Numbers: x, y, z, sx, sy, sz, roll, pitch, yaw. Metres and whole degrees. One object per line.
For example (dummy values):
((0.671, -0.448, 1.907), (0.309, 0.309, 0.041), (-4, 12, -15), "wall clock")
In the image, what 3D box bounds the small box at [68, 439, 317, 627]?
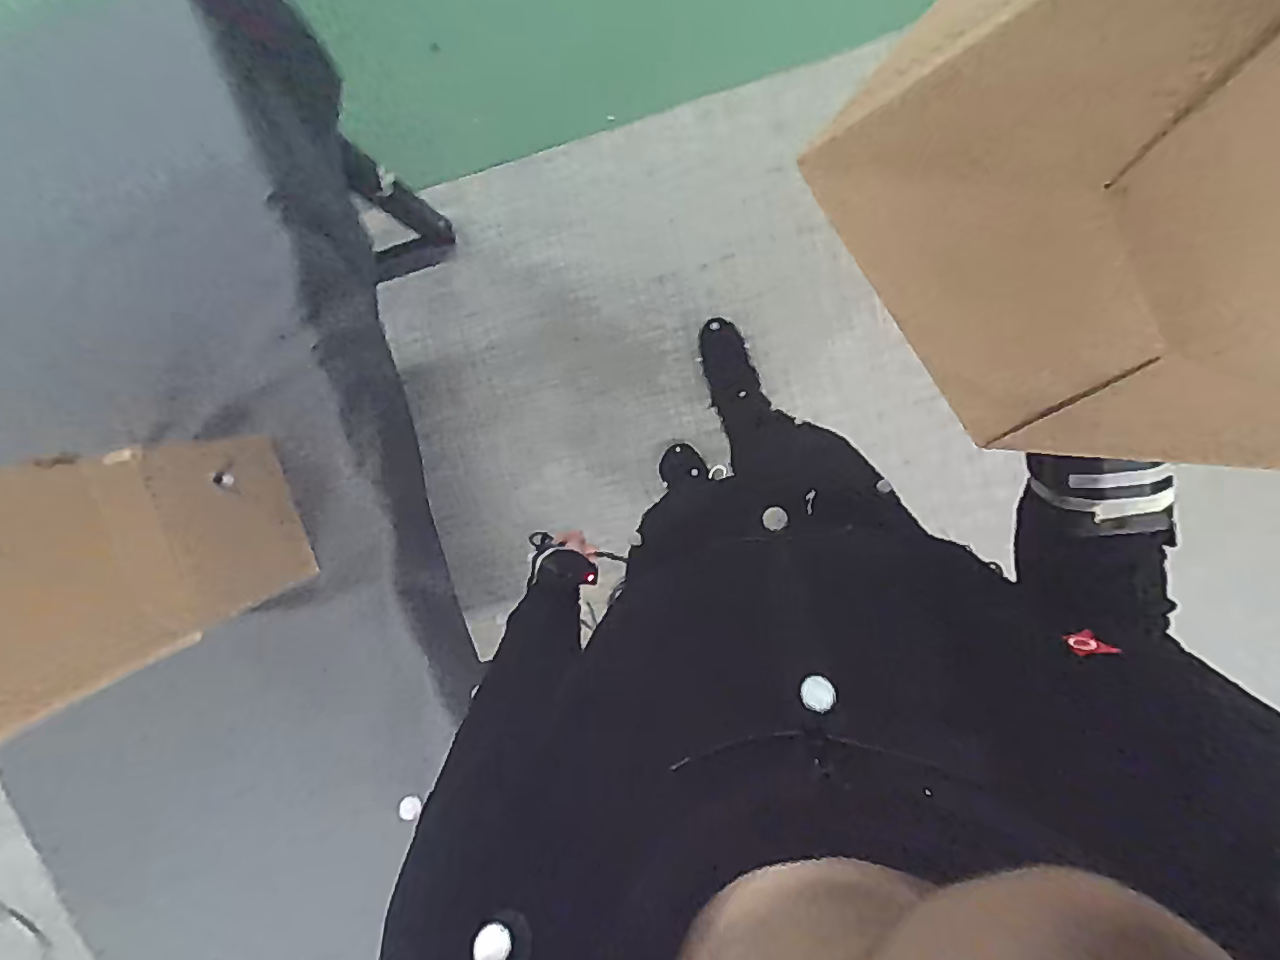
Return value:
((-0.493, 0.059, 0.575), (0.168, 0.176, 0.179), (-16, 98, 7), "small box")

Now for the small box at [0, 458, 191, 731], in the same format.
((-0.506, 0.091, 0.417), (0.168, 0.176, 0.179), (-14, 97, 7), "small box")
